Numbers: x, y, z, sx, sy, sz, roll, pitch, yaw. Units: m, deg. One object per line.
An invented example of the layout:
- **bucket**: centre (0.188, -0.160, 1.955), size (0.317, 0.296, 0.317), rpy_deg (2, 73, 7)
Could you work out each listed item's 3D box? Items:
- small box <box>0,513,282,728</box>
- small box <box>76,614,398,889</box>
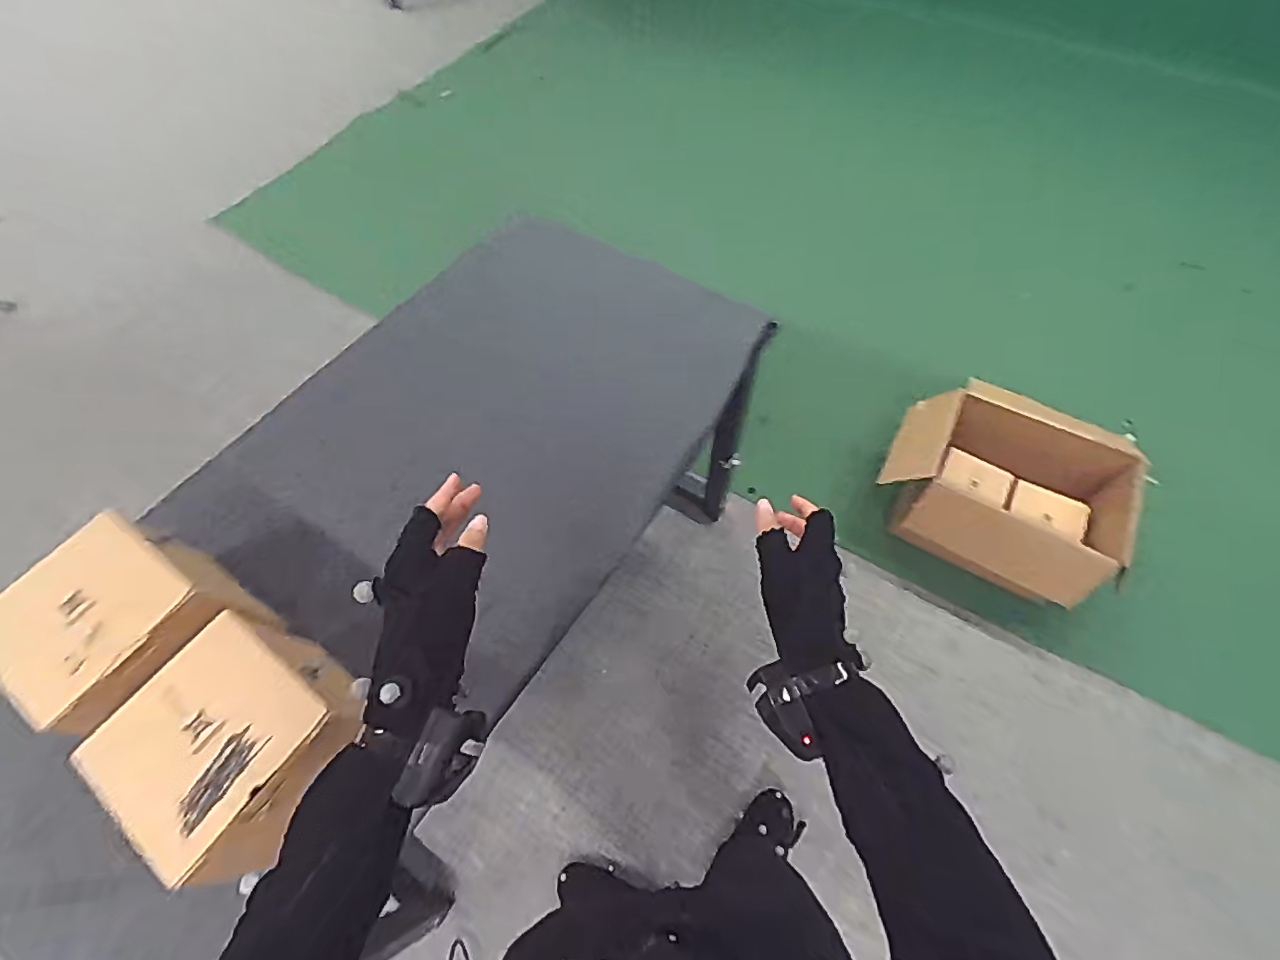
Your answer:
- **small box**: centre (-0.578, 0.174, 0.628), size (0.179, 0.176, 0.168), rpy_deg (29, 66, 17)
- **small box**: centre (-0.396, 0.273, 0.566), size (0.179, 0.176, 0.168), rpy_deg (30, 66, 19)
